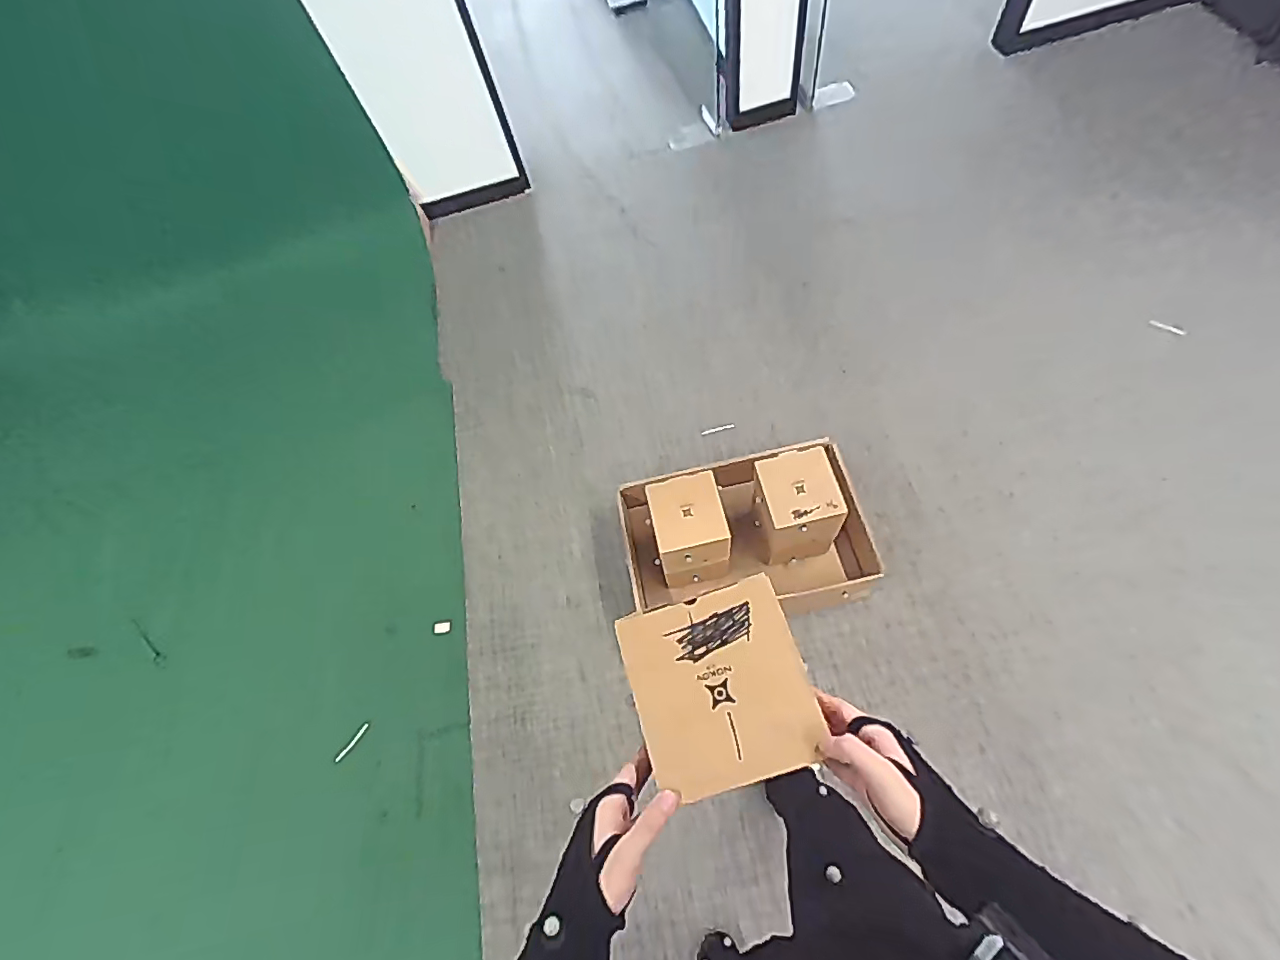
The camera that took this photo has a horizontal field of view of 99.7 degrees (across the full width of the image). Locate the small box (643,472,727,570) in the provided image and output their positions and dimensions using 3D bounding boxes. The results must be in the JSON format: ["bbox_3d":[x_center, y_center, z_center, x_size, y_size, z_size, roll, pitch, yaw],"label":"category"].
[{"bbox_3d":[0.113,0.108,1.307,0.168,0.176,0.179,-13,63,2],"label":"small box"}]

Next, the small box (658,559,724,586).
[{"bbox_3d":[0.130,0.177,1.452,0.168,0.176,0.179,-12,63,2],"label":"small box"}]

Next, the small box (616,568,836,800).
[{"bbox_3d":[0.084,0.219,0.585,0.168,0.176,0.179,-18,65,1],"label":"small box"}]

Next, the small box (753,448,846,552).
[{"bbox_3d":[0.372,0.053,1.294,0.168,0.176,0.179,-13,63,4],"label":"small box"}]
